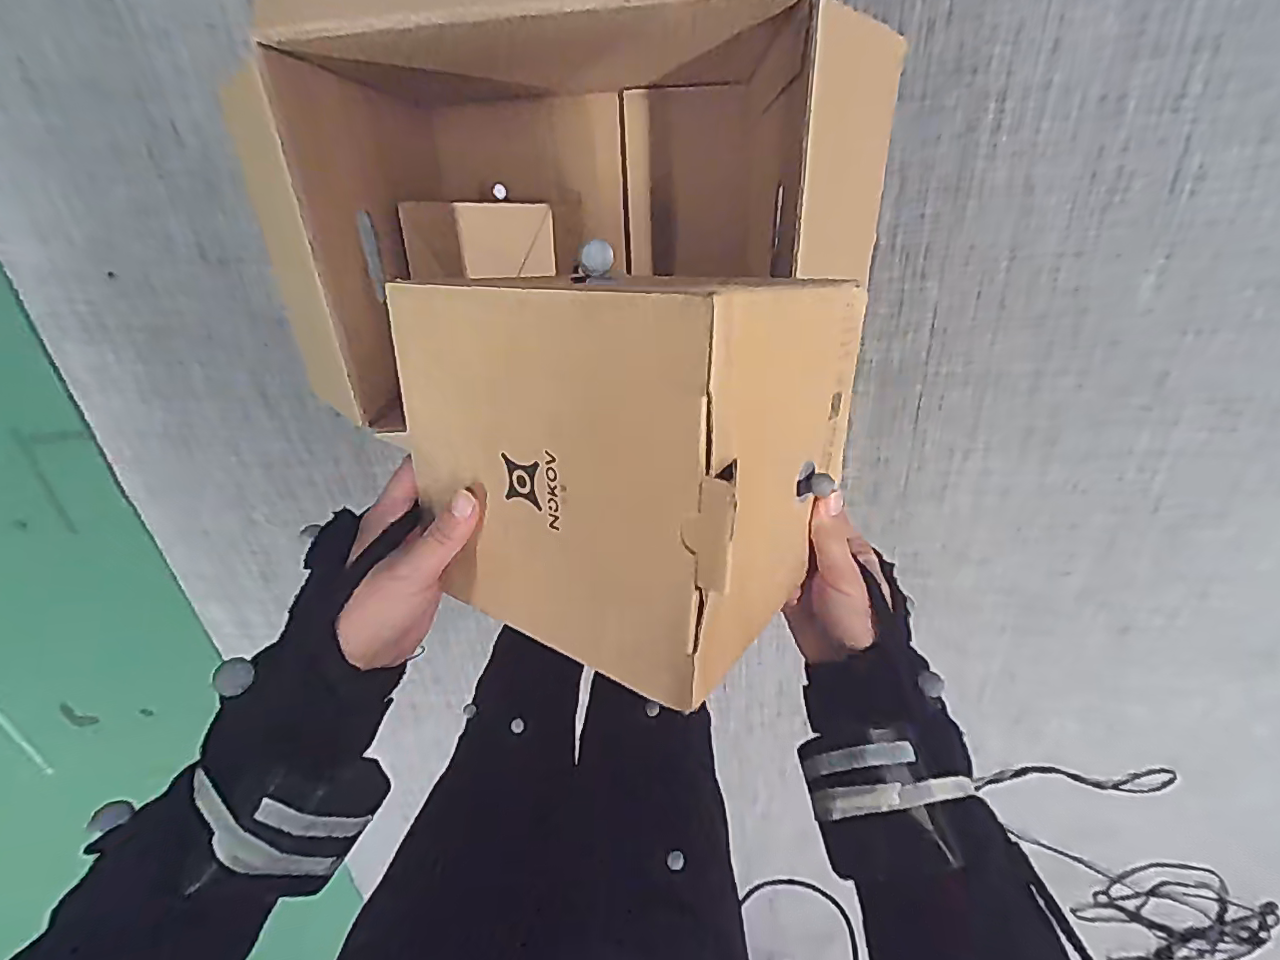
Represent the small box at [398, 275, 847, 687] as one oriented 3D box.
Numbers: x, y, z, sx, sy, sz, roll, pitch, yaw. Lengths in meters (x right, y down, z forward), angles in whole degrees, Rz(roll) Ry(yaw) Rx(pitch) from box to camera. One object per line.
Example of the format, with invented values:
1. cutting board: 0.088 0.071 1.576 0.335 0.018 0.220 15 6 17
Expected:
1. small box: -0.003 -0.026 0.308 0.179 0.176 0.168 14 115 32
